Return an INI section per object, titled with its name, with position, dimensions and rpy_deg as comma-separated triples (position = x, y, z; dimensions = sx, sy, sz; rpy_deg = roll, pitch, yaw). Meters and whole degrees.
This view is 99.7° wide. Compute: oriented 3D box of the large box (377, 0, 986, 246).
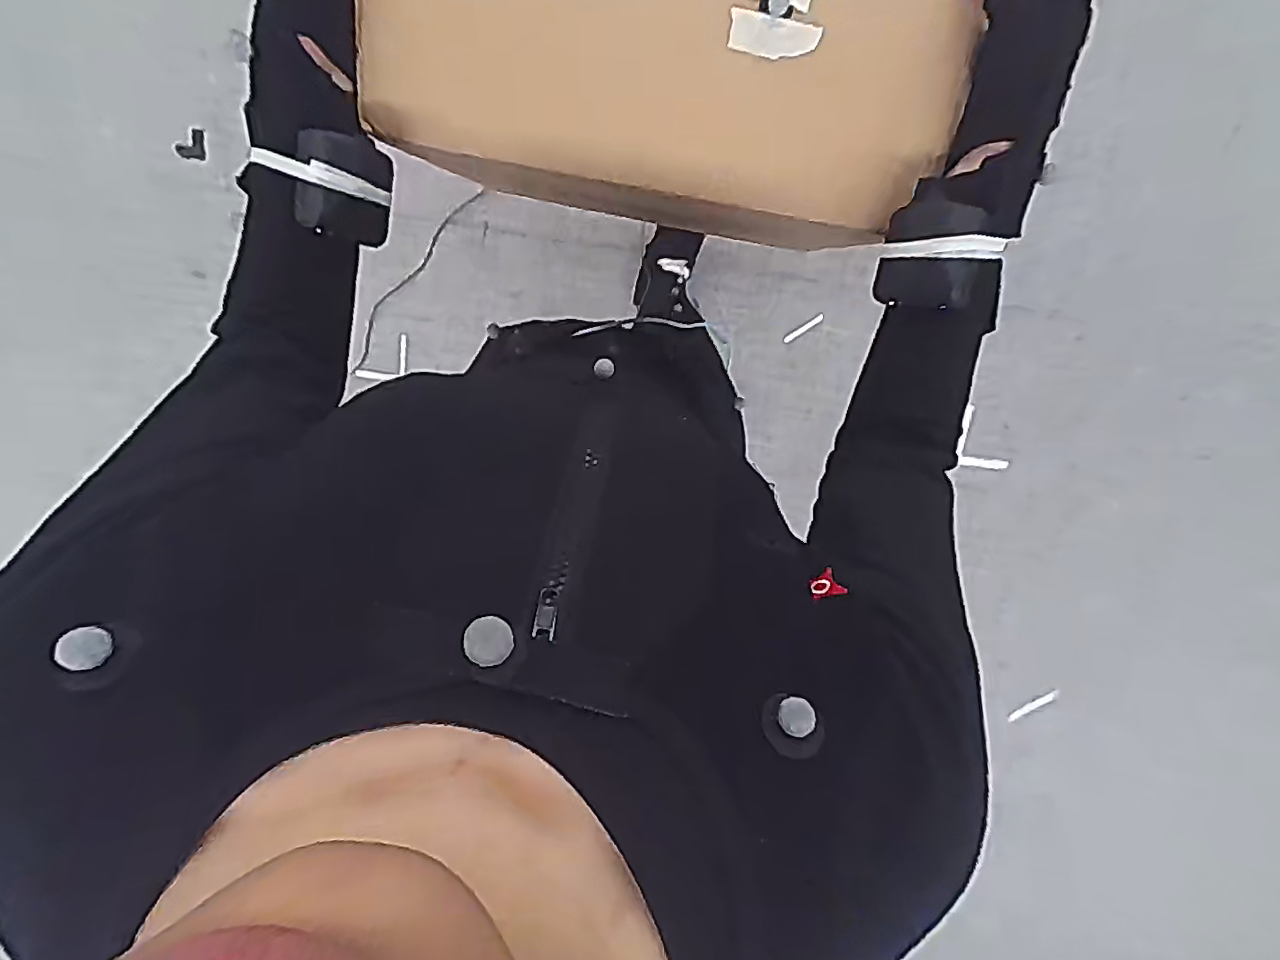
[large box]
position = 0.034, -0.408, 0.478
dimensions = 0.408, 0.320, 0.320
rpy_deg = 9, 112, -3
